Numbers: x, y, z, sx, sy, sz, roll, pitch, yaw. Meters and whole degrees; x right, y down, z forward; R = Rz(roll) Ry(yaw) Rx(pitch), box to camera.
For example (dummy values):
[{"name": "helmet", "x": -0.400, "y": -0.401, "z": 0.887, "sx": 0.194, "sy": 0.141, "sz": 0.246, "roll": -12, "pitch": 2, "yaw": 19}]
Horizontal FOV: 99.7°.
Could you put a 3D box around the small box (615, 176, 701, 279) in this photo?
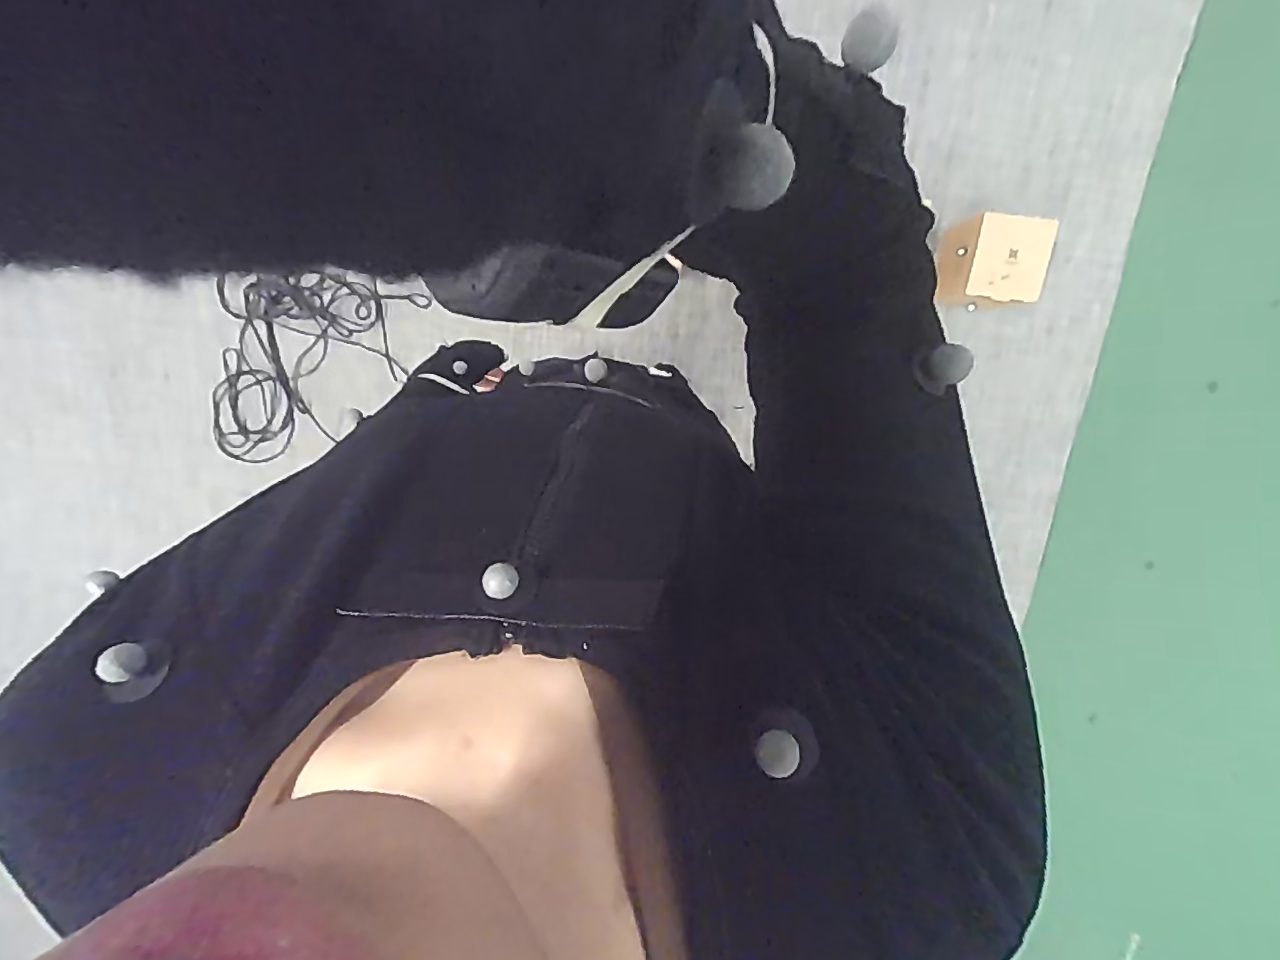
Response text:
[{"name": "small box", "x": 0.043, "y": -0.589, "z": 1.286, "sx": 0.168, "sy": 0.176, "sz": 0.179, "roll": 11, "pitch": 102, "yaw": 0}]

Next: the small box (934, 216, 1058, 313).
[{"name": "small box", "x": 0.829, "y": -0.501, "z": 1.280, "sx": 0.168, "sy": 0.176, "sz": 0.179, "roll": 7, "pitch": 103, "yaw": 1}]
